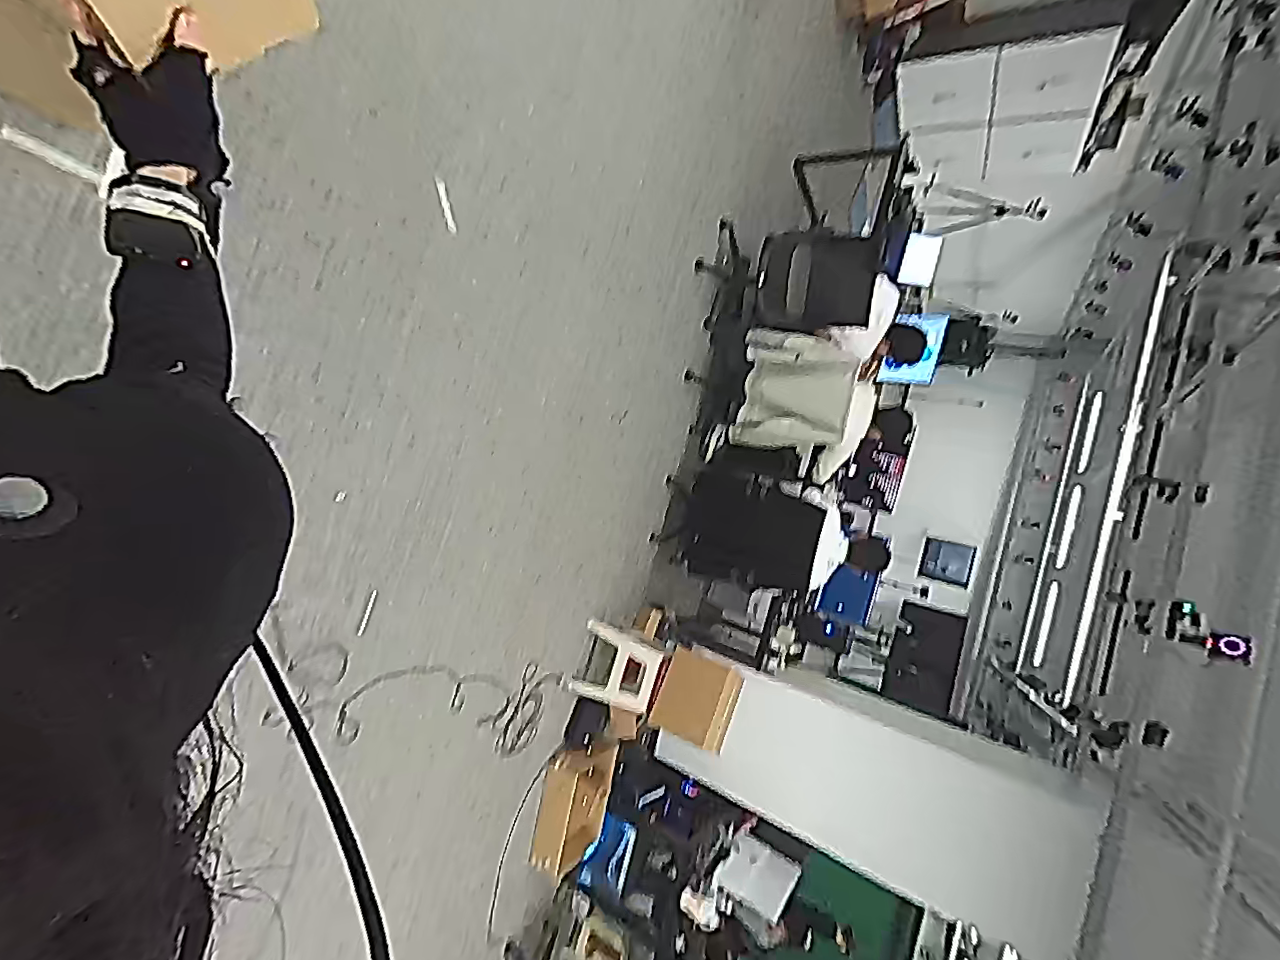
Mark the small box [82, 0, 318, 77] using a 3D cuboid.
[{"bbox_3d":[-0.392,-0.471,0.406,0.168,0.176,0.179,-42,-177,-19],"label":"small box"}]
